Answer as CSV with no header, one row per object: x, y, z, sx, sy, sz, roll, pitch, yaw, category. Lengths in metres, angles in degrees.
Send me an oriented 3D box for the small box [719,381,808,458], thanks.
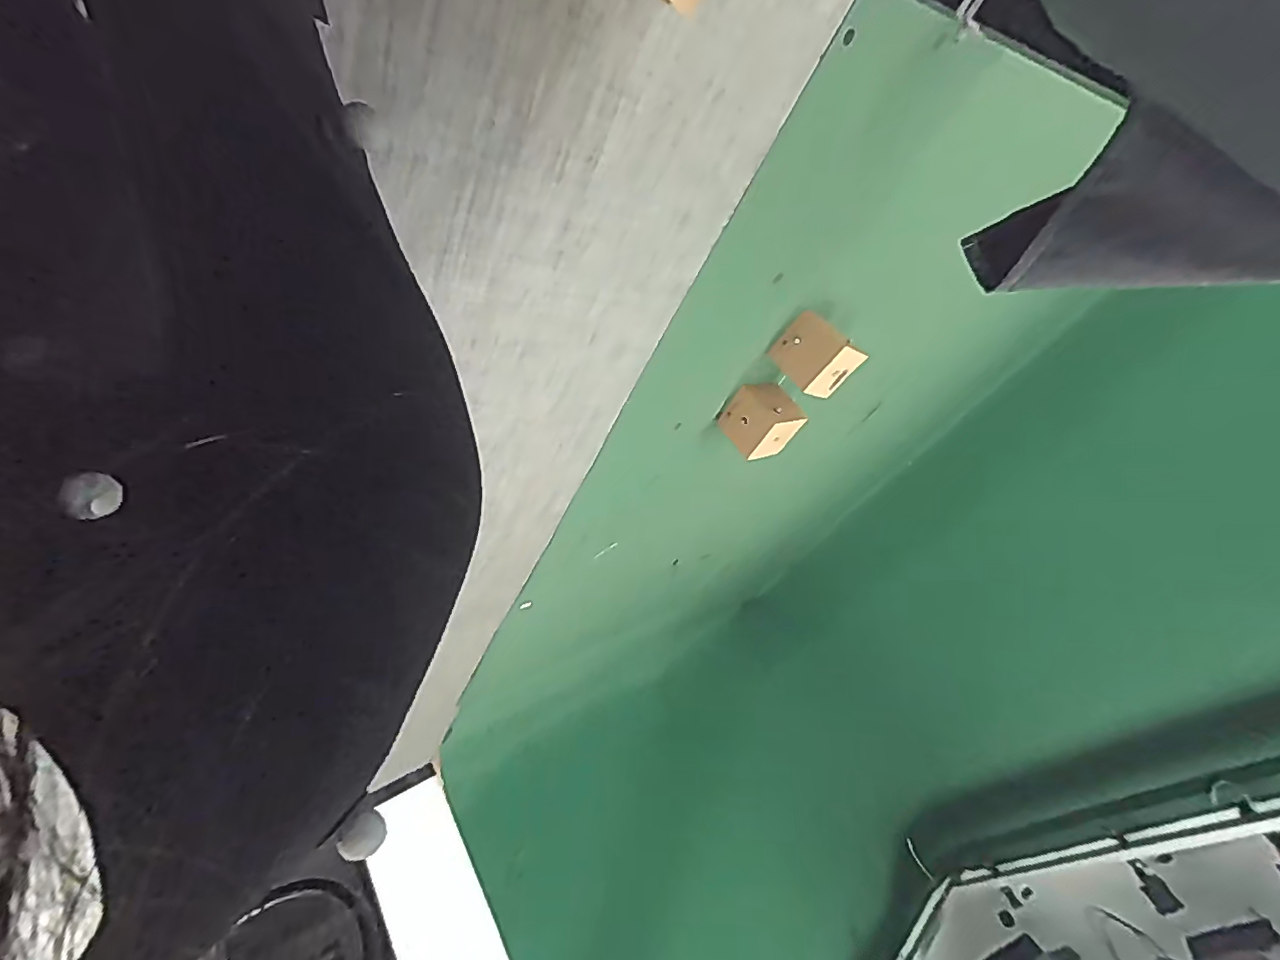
0.383,-0.196,1.706,0.179,0.176,0.168,-13,149,-41,small box

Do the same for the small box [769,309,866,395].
0.508,-0.367,1.558,0.179,0.176,0.168,-1,139,-50,small box
